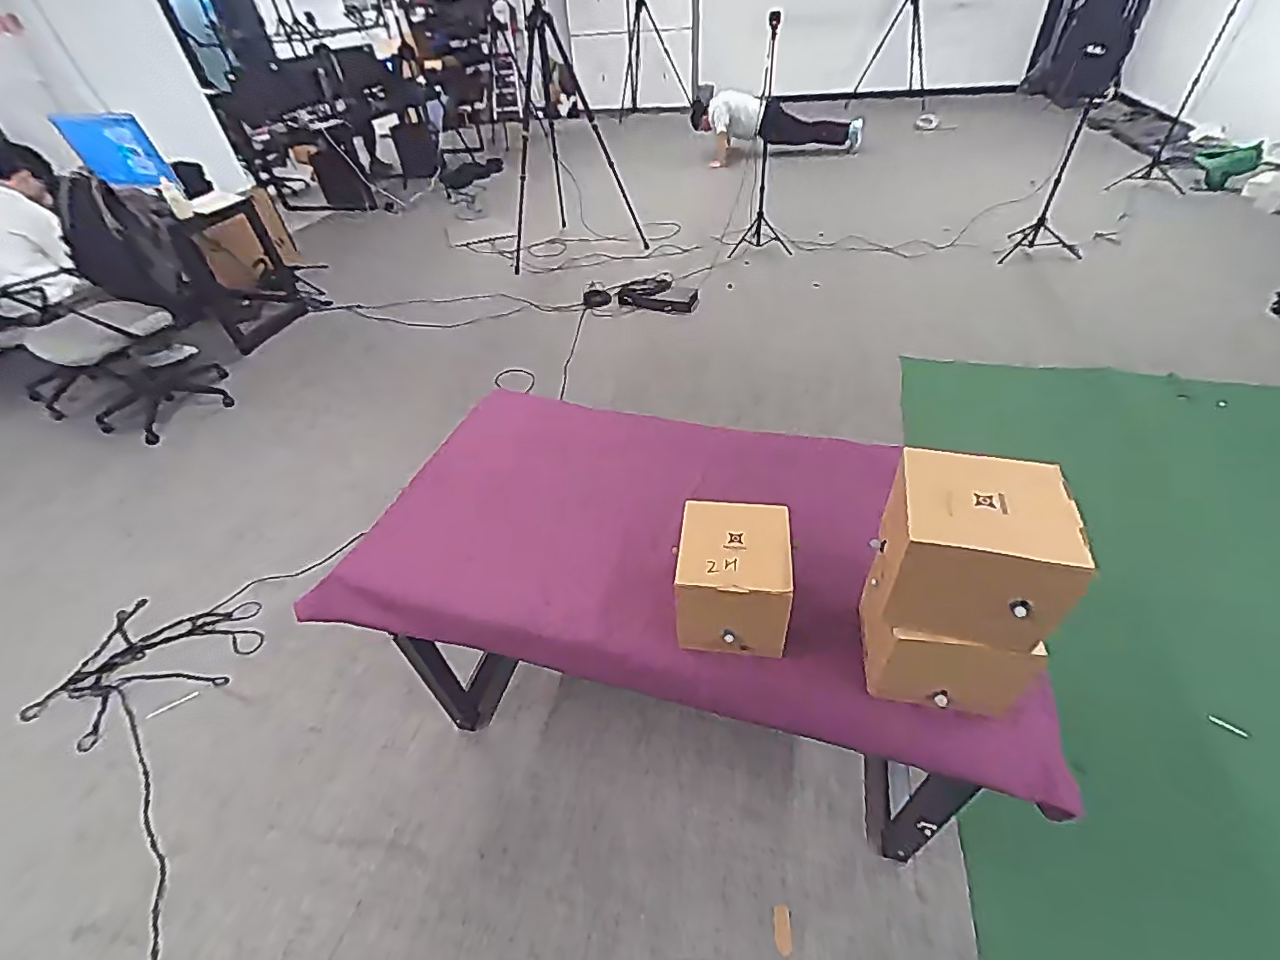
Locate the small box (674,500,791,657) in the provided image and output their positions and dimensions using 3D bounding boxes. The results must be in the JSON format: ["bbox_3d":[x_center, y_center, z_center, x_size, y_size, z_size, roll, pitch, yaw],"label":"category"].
[{"bbox_3d":[0.147,0.155,0.865,0.168,0.176,0.179,3,42,10],"label":"small box"}]

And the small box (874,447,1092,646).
[{"bbox_3d":[0.403,0.083,0.671,0.179,0.176,0.168,9,45,17],"label":"small box"}]

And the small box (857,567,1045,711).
[{"bbox_3d":[0.425,0.209,0.774,0.179,0.176,0.168,5,43,12],"label":"small box"}]
